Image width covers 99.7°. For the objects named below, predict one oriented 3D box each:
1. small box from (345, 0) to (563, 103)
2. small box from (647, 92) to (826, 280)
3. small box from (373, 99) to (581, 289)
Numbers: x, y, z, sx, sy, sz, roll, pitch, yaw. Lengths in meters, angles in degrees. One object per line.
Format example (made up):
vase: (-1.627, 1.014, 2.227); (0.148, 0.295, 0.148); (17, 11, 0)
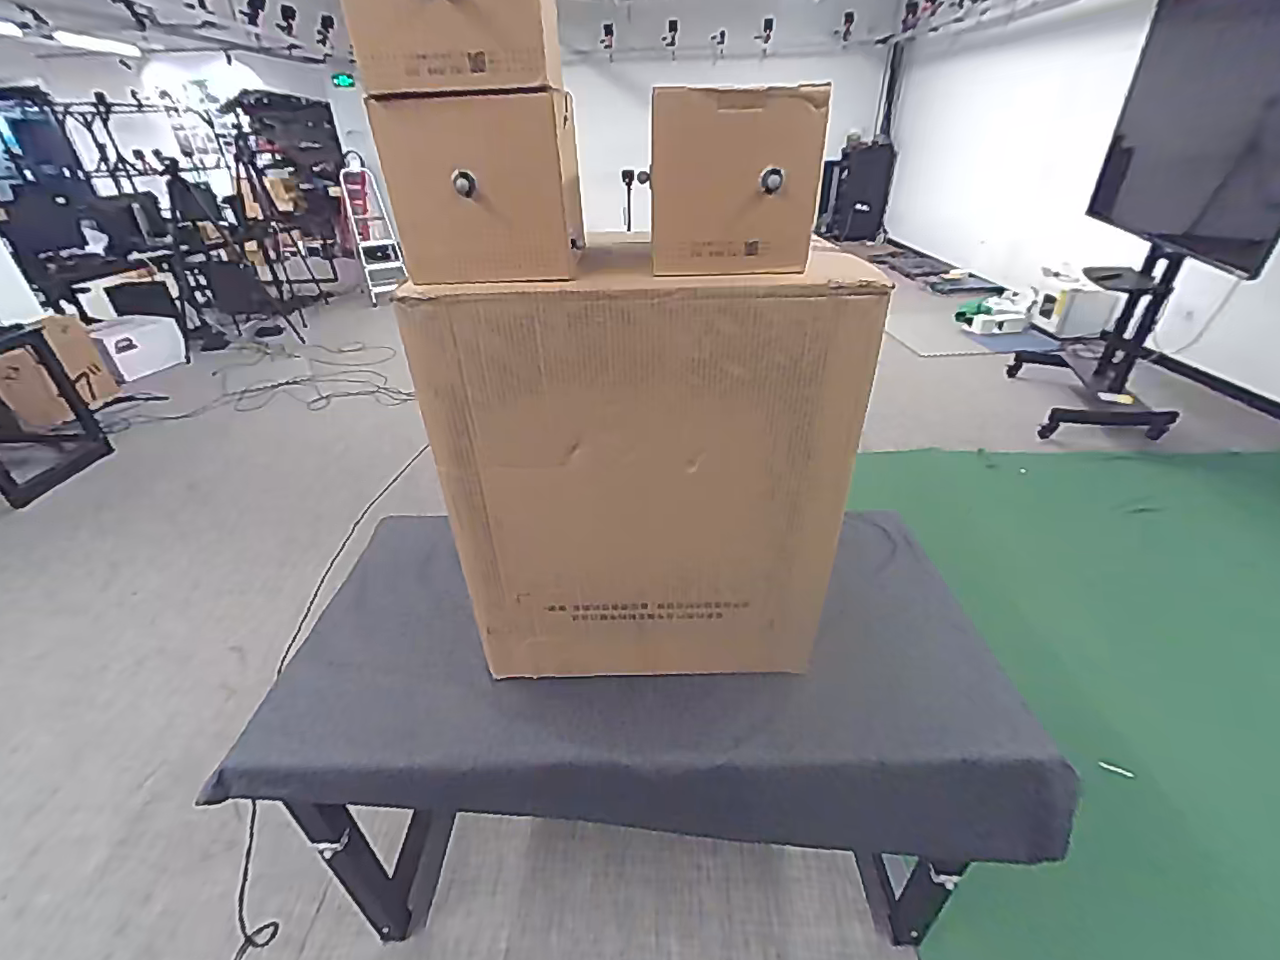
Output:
small box: (-0.167, -0.453, 0.507); (0.168, 0.176, 0.179); (-3, 35, -1)
small box: (0.093, -0.328, 0.606); (0.168, 0.176, 0.179); (1, 34, 0)
small box: (-0.159, -0.318, 0.599); (0.179, 0.176, 0.168); (-2, 35, -2)
